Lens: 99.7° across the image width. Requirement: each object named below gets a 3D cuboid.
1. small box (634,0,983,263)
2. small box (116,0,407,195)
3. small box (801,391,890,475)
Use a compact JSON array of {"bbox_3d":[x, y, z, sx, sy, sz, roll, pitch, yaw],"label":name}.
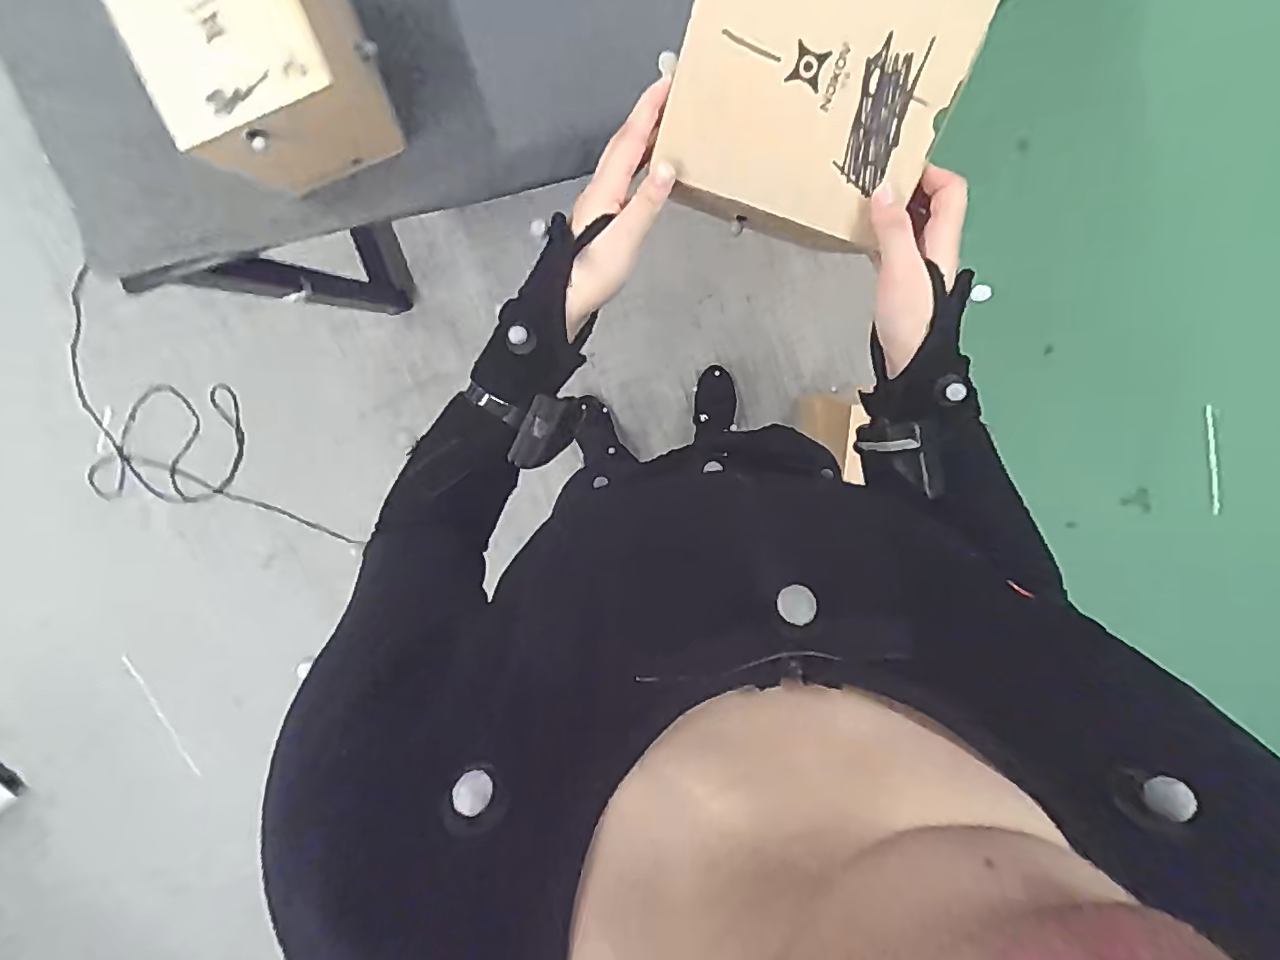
[{"bbox_3d":[0.103,-0.280,0.415,0.179,0.176,0.168,16,112,-5],"label":"small box"},{"bbox_3d":[-0.383,-0.437,0.570,0.168,0.176,0.179,-18,102,5],"label":"small box"},{"bbox_3d":[0.514,-0.124,1.367,0.168,0.176,0.179,-8,103,3],"label":"small box"}]
